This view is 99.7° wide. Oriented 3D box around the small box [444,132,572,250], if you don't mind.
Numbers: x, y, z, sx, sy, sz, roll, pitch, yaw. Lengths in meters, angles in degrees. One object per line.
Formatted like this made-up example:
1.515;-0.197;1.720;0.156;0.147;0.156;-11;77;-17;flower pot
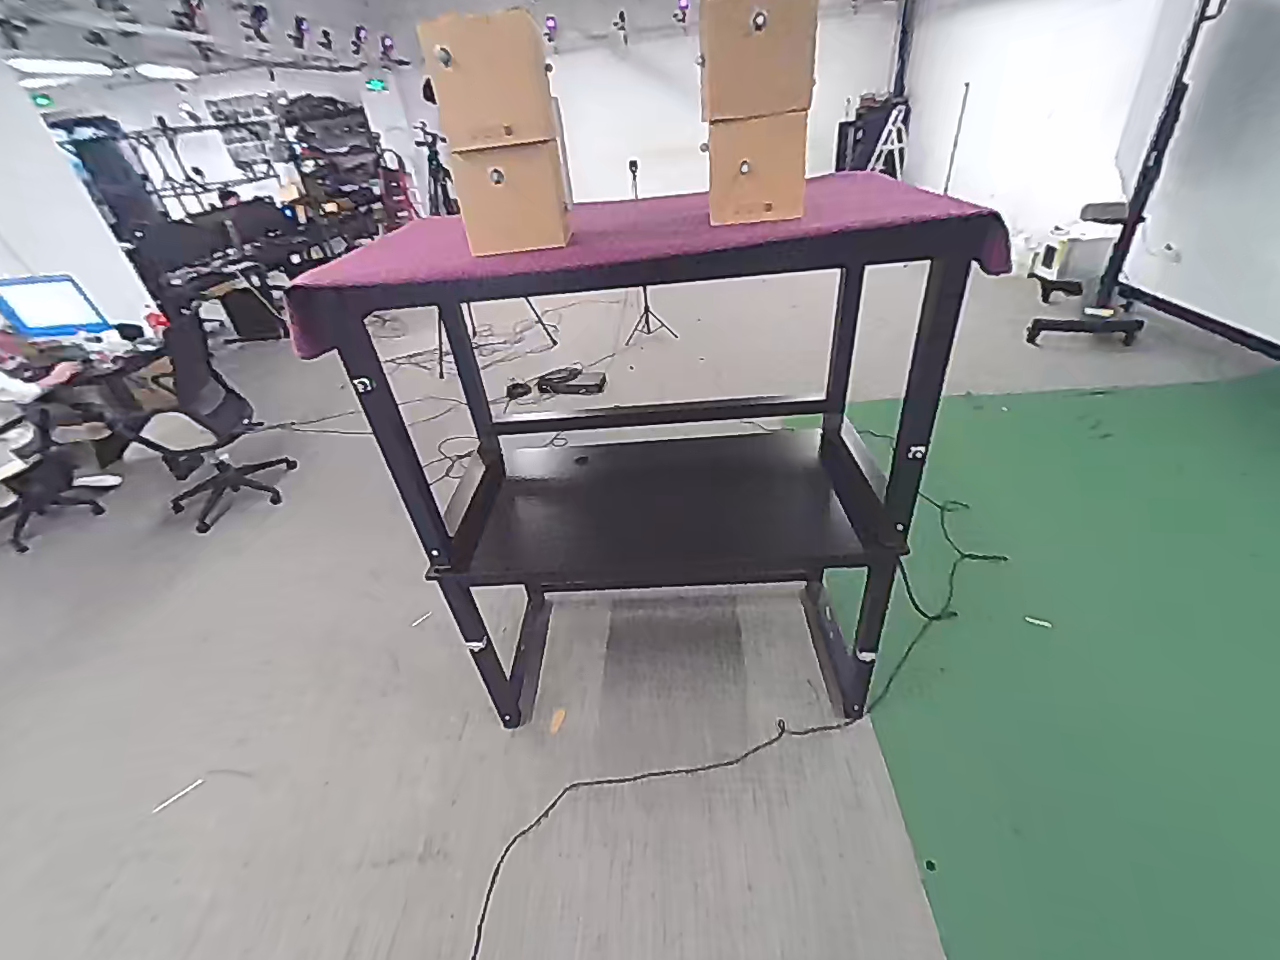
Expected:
-0.232;-0.532;0.998;0.179;0.176;0.168;-6;35;2;small box

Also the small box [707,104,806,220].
0.213;-0.593;1.013;0.168;0.176;0.179;-2;34;8;small box

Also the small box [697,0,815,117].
0.193;-0.723;0.916;0.179;0.176;0.168;-4;34;5;small box
